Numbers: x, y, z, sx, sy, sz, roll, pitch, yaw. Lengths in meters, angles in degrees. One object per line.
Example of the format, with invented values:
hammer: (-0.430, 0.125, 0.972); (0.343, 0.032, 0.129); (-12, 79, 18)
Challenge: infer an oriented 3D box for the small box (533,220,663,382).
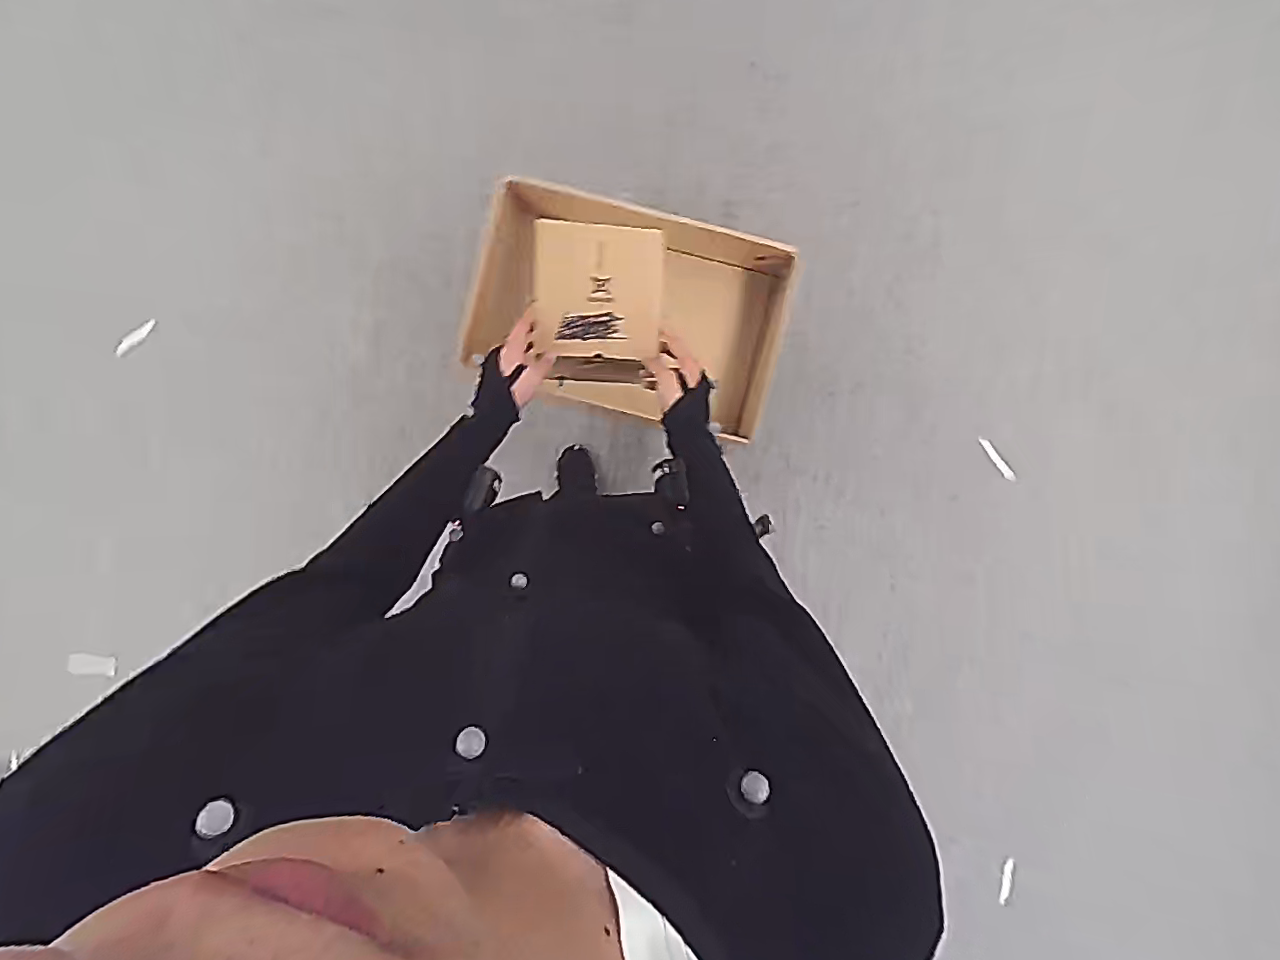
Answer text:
small box: (-0.063, -0.239, 0.769); (0.168, 0.176, 0.179); (1, 90, -9)
